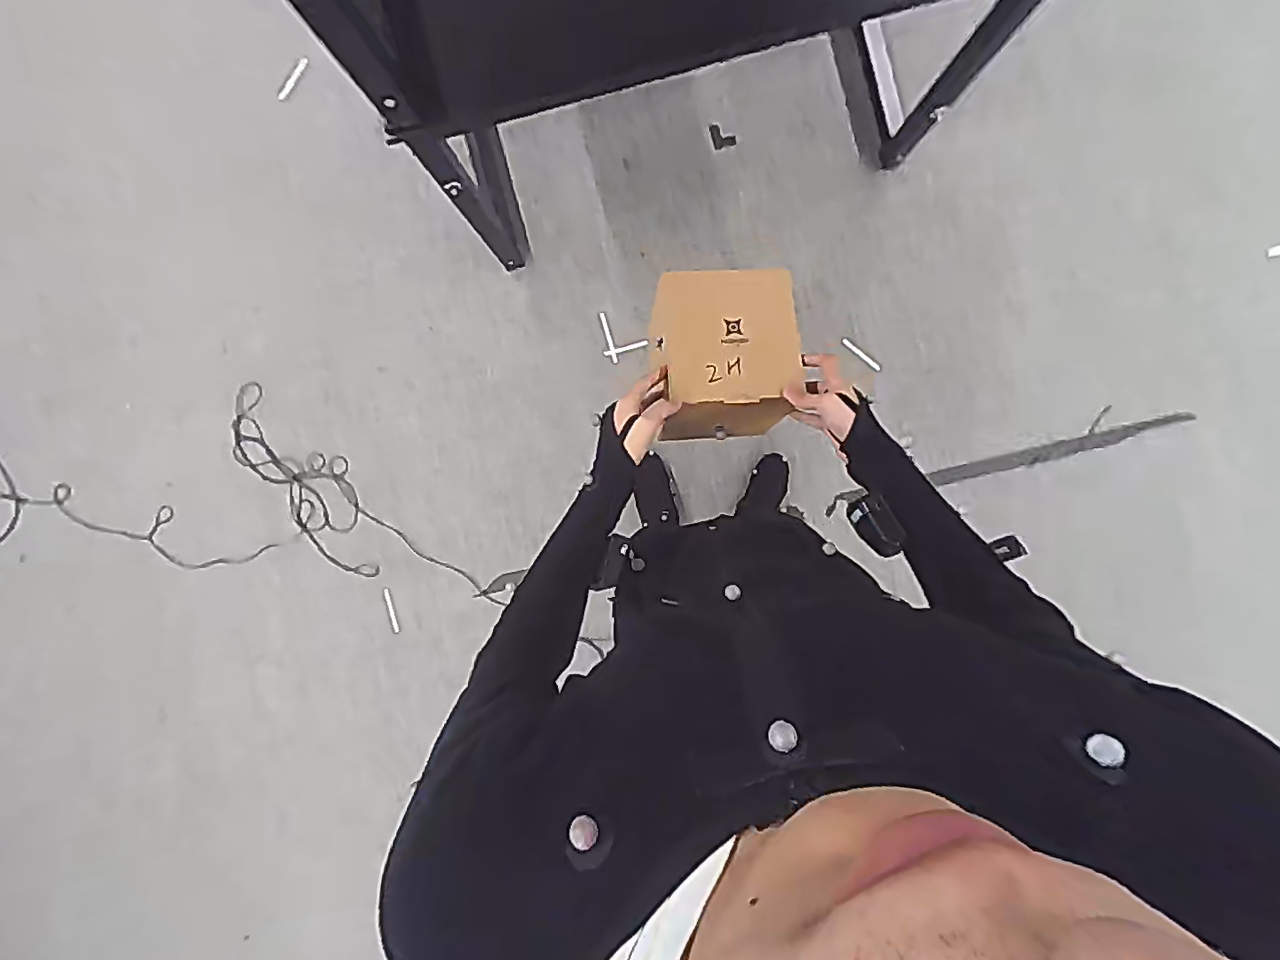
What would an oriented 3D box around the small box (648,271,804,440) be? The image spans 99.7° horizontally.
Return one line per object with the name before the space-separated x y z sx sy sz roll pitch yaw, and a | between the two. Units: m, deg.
small box | 0.105 -0.162 0.741 0.168 0.176 0.179 -3 79 -6
